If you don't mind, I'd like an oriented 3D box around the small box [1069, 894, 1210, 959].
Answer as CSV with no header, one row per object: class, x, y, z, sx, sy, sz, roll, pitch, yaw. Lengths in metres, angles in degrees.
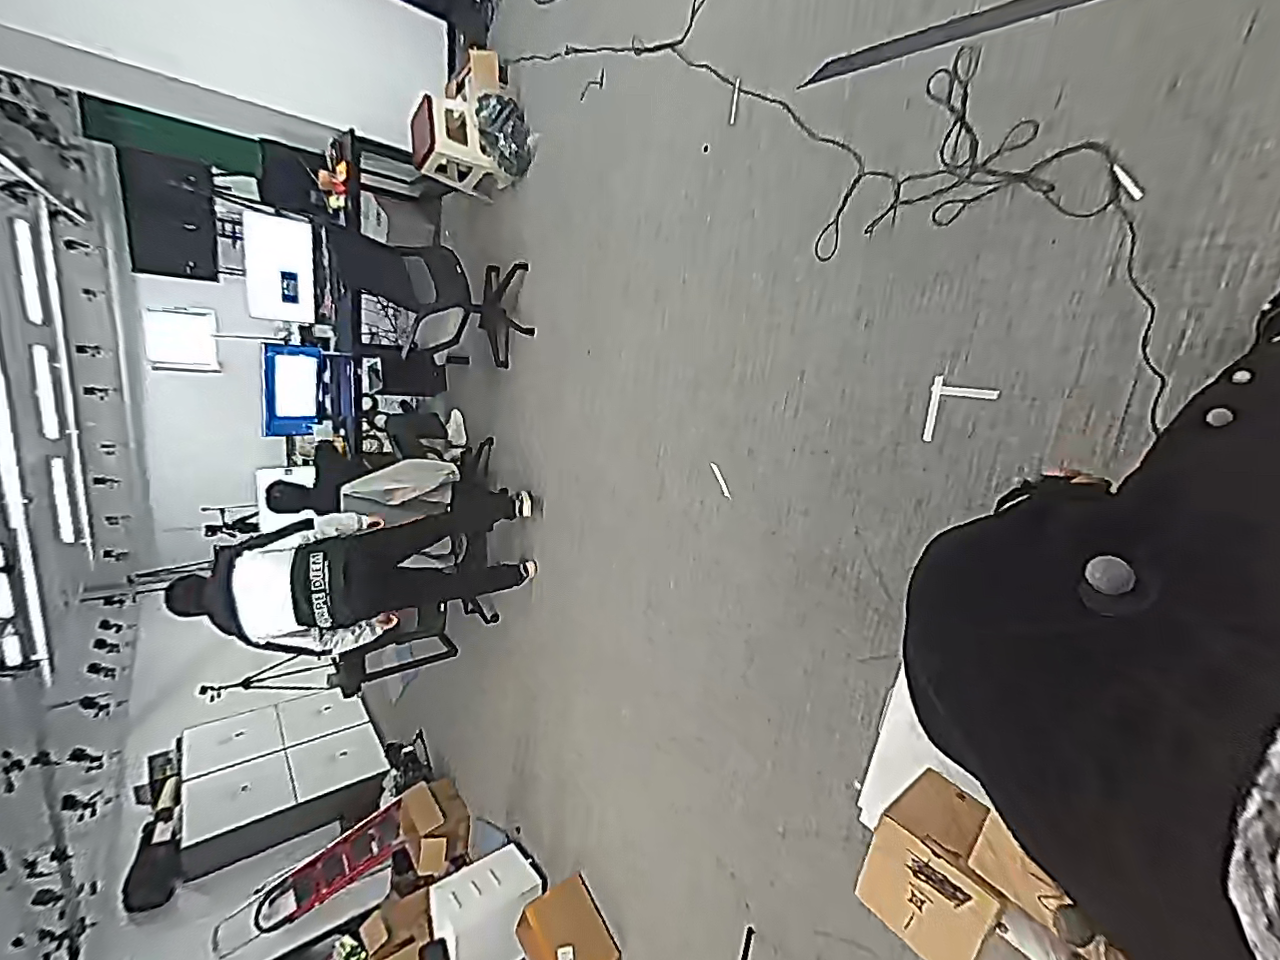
small box,0.626,0.669,0.660,0.168,0.176,0.179,30,117,46
